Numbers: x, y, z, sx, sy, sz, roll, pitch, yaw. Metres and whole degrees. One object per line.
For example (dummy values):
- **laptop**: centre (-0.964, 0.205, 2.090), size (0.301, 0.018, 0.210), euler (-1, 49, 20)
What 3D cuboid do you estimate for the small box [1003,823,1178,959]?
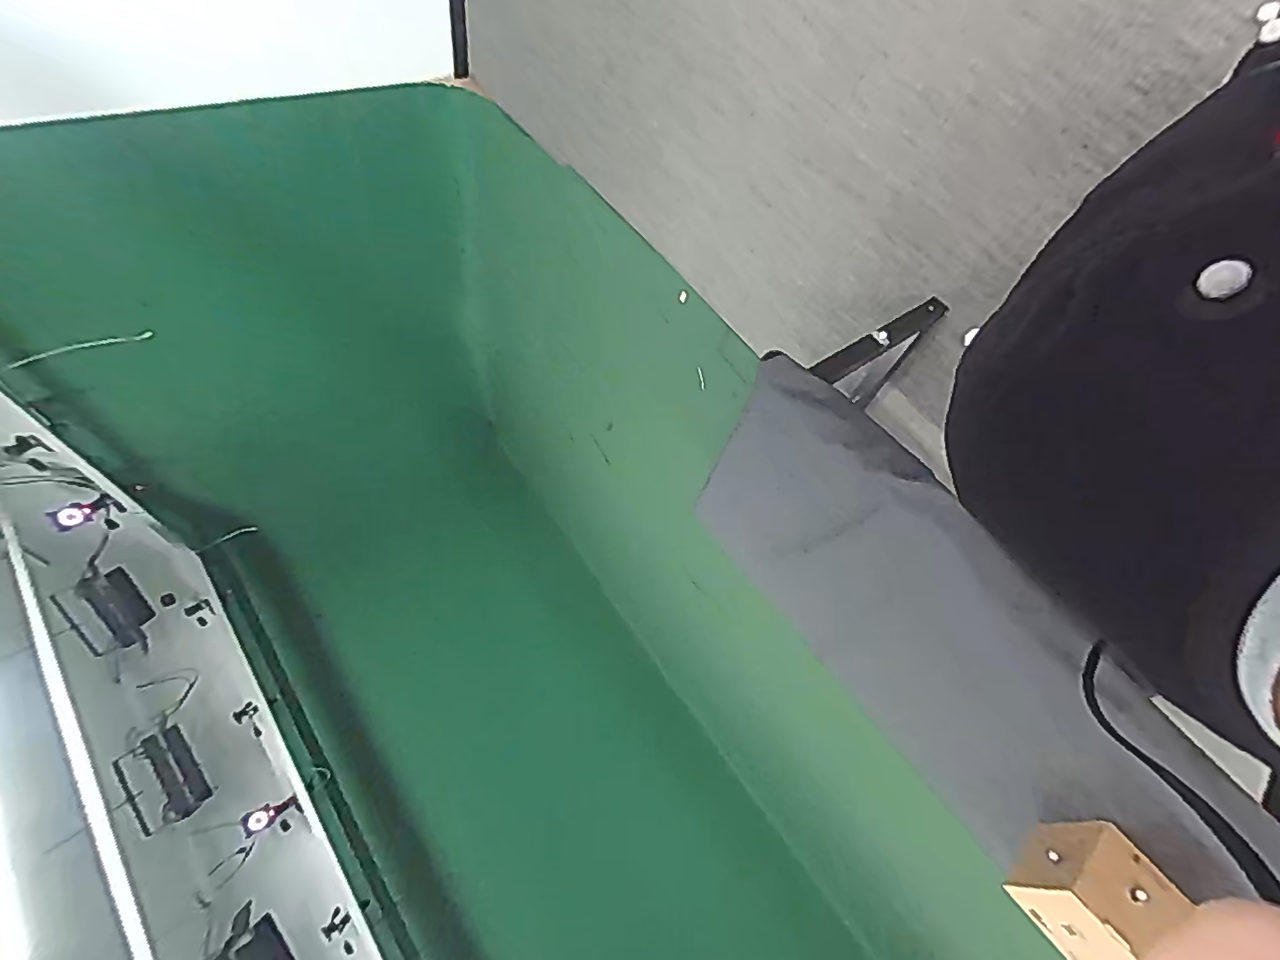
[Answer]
- **small box**: centre (0.839, 0.774, 1.007), size (0.168, 0.176, 0.179), euler (48, 149, 21)
